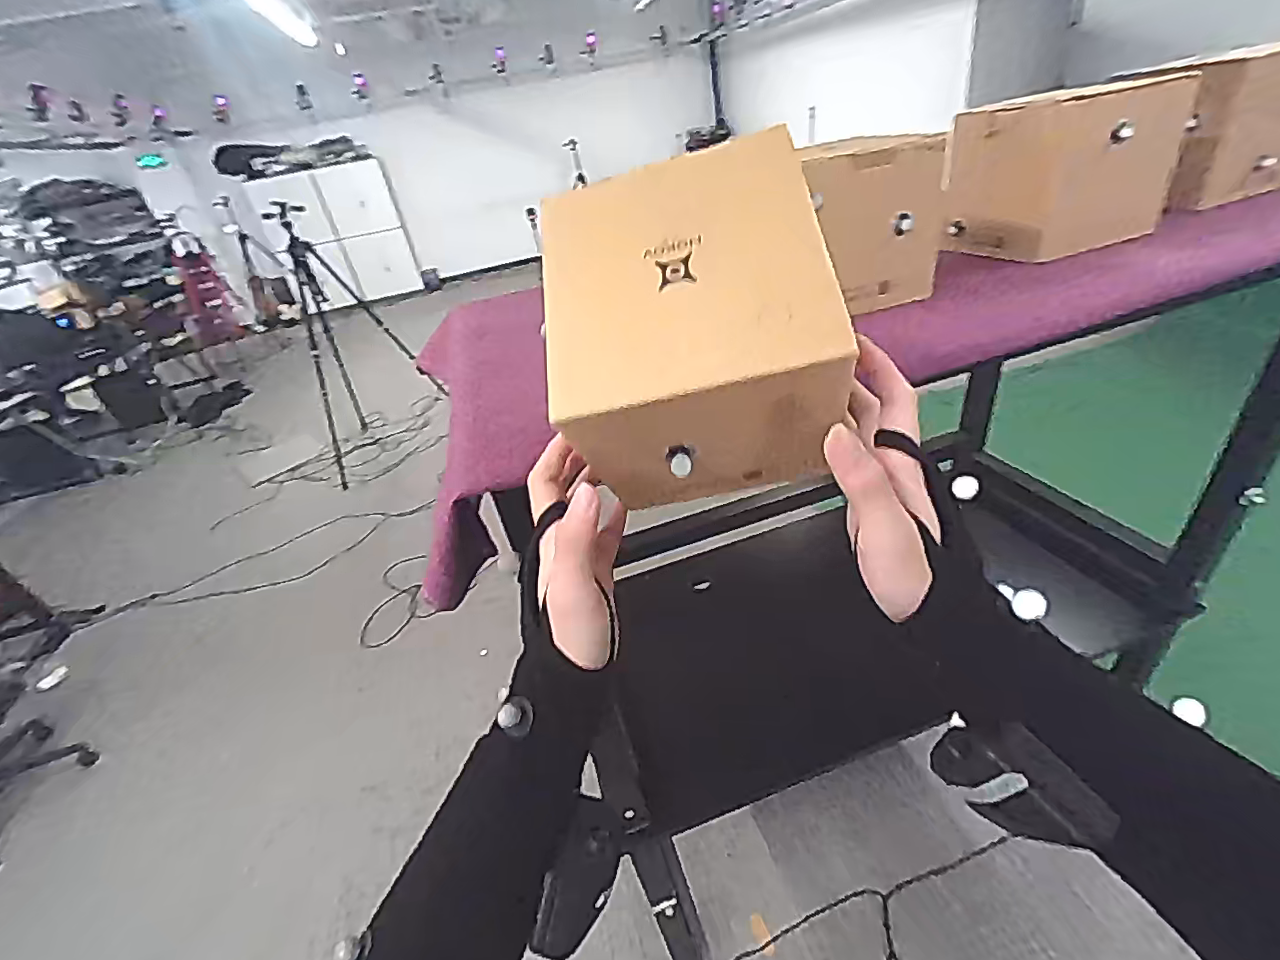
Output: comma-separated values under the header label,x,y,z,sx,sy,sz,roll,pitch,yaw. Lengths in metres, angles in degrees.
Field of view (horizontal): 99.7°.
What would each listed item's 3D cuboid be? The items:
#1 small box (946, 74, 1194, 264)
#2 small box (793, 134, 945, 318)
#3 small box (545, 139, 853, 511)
label,x,y,z,sx,sy,sz,roll,pitch,yaw
small box,0.519,-0.384,0.685,0.179,0.176,0.168,-17,32,-9
small box,0.223,-0.294,0.639,0.168,0.176,0.179,-13,32,-4
small box,0.044,-0.086,0.385,0.168,0.176,0.179,-12,66,12
